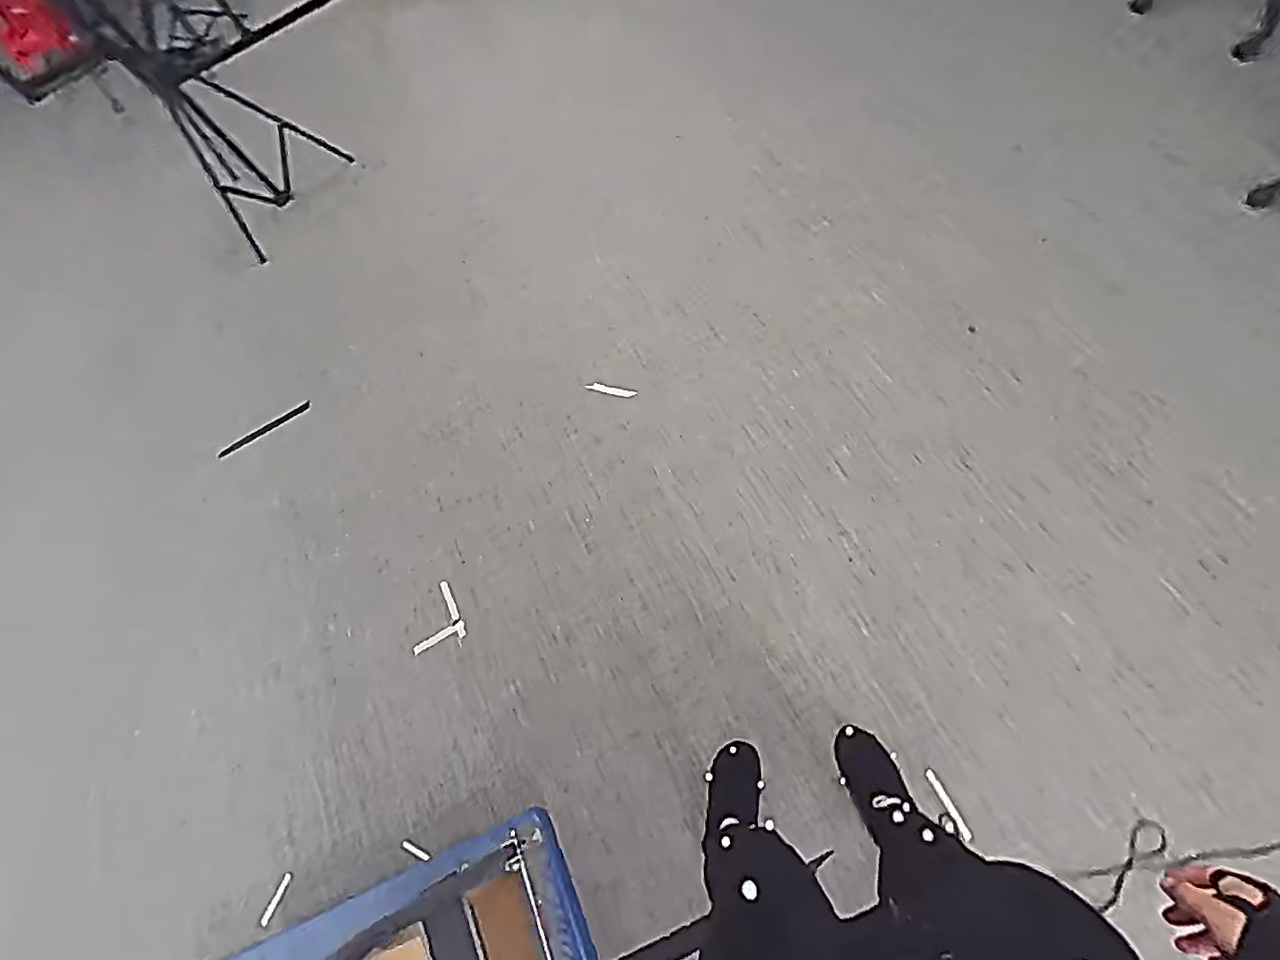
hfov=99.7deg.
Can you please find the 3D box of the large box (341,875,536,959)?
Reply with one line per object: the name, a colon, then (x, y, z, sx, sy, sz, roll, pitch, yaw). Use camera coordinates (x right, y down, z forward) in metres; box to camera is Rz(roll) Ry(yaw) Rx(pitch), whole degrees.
large box: (-0.346, 0.978, 0.896, 0.320, 0.320, 0.408, -26, 65, 0)
